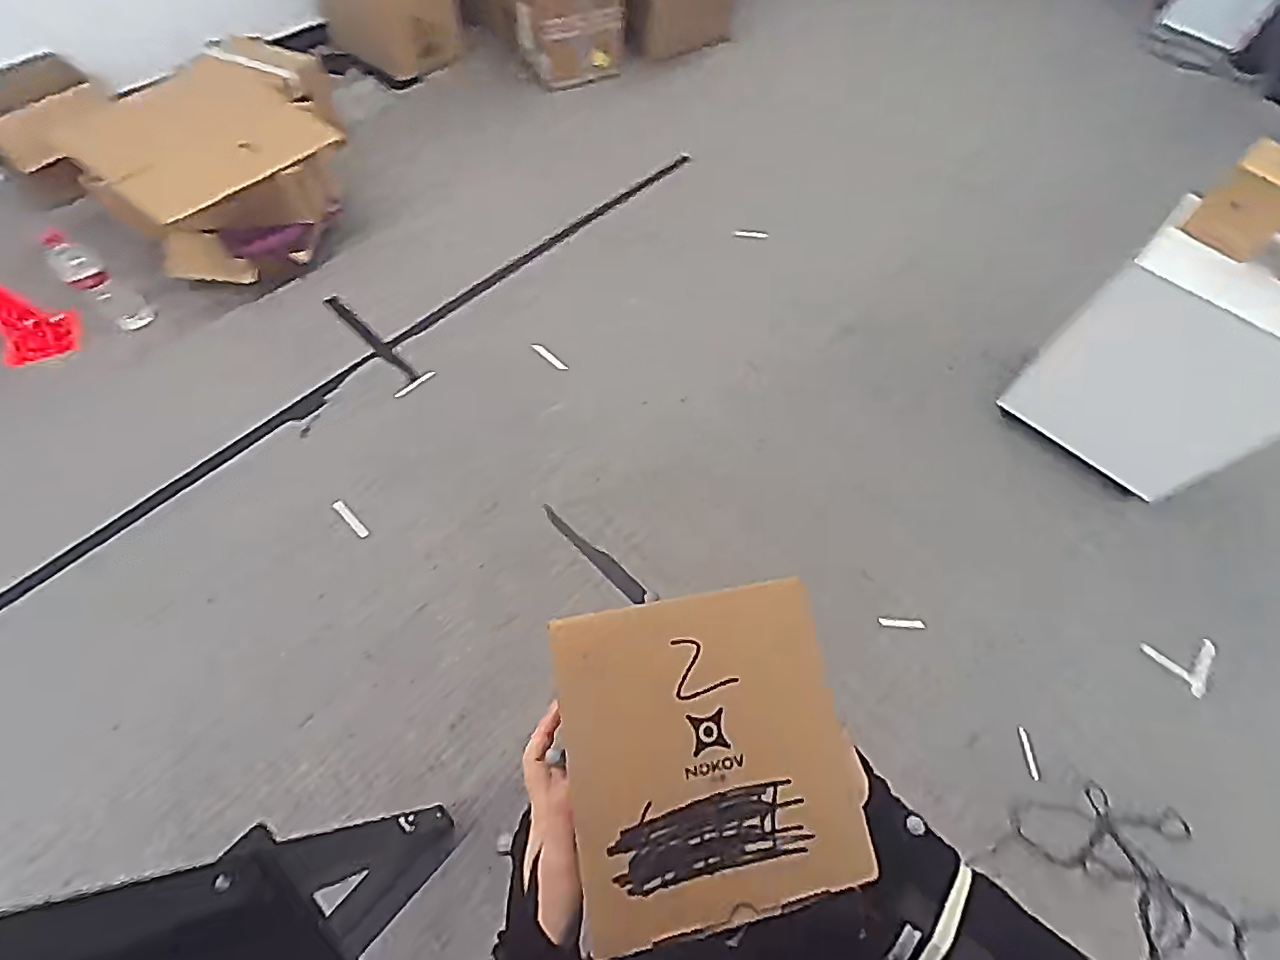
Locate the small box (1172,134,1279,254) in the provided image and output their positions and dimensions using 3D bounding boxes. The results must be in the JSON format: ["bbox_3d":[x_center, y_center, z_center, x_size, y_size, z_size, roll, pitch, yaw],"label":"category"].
[{"bbox_3d":[1.451,-0.679,1.297,0.179,0.176,0.168,-38,70,-20],"label":"small box"}]
